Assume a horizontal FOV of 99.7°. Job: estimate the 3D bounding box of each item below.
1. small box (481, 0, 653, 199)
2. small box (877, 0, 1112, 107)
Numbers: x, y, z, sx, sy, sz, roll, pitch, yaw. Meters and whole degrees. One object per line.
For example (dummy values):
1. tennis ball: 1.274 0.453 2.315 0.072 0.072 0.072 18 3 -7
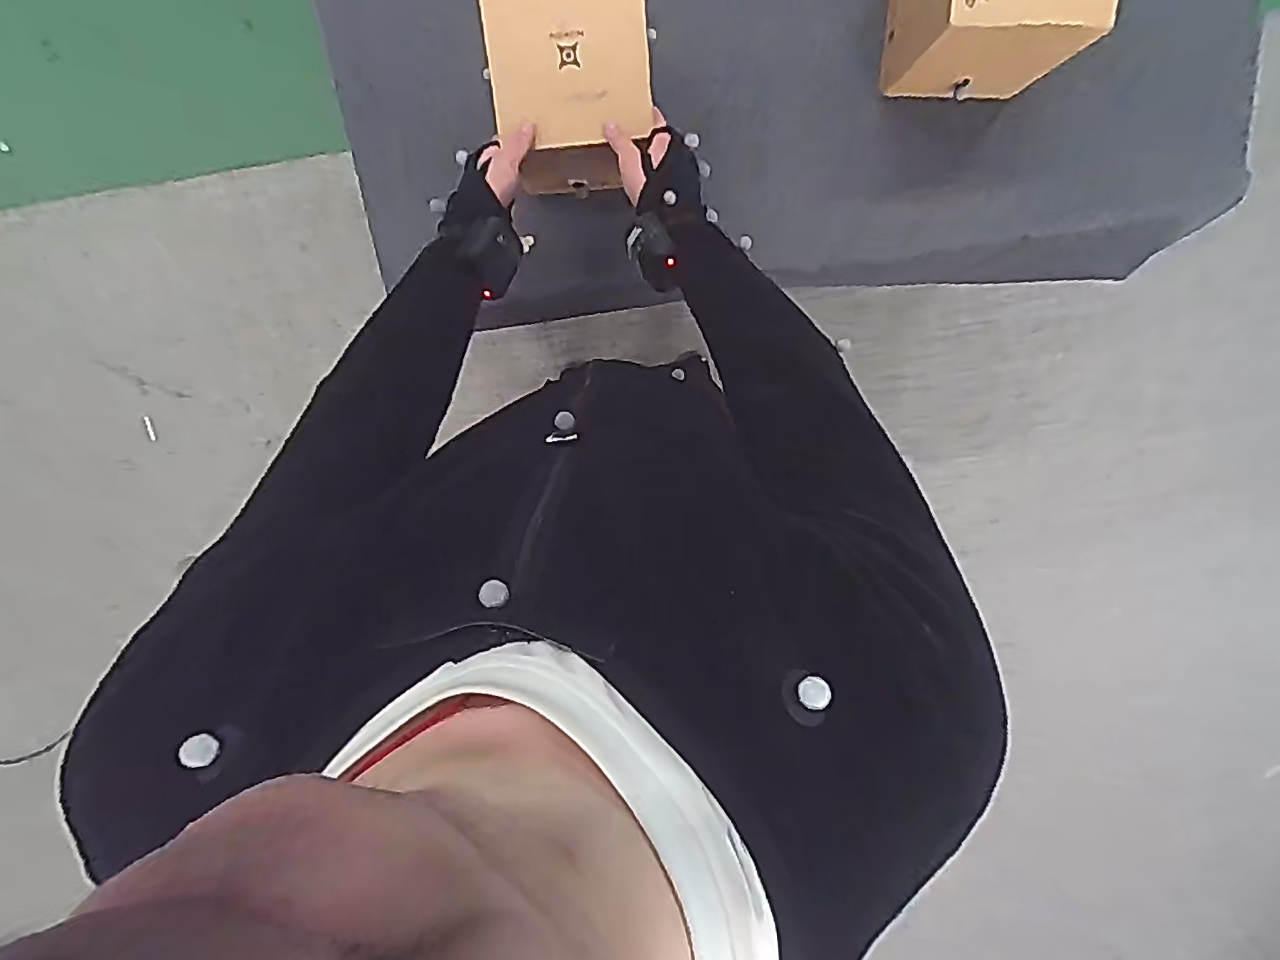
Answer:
1. small box: -0.072 -0.441 0.615 0.168 0.176 0.179 -3 103 2
2. small box: 0.407 -0.562 0.629 0.179 0.176 0.168 1 104 -1
